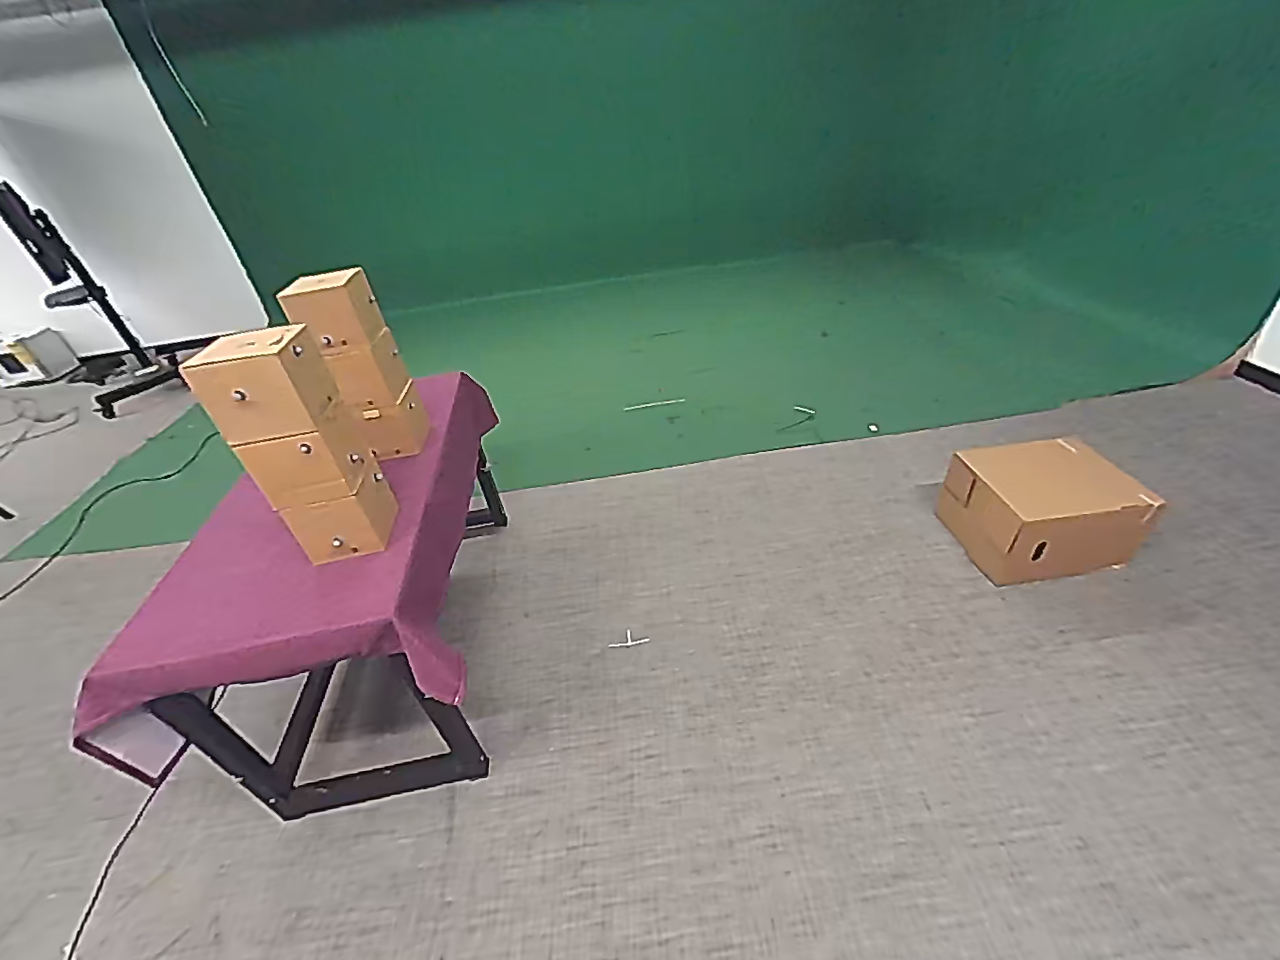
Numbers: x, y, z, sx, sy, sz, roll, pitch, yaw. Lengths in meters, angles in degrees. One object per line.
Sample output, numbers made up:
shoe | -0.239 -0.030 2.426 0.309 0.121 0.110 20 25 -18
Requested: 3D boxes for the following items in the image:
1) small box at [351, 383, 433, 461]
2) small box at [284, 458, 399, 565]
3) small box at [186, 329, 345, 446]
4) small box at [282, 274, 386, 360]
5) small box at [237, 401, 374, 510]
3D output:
small box | -0.745 -0.169 1.630 0.168 0.176 0.179 -10 36 -1
small box | -0.696 0.075 1.288 0.168 0.176 0.179 -12 36 -3
small box | -0.741 -0.185 1.093 0.179 0.176 0.168 -11 36 -2
small box | -0.804 -0.435 1.447 0.168 0.176 0.179 -11 36 -2
small box | -0.722 -0.053 1.190 0.179 0.176 0.168 -11 36 -4
